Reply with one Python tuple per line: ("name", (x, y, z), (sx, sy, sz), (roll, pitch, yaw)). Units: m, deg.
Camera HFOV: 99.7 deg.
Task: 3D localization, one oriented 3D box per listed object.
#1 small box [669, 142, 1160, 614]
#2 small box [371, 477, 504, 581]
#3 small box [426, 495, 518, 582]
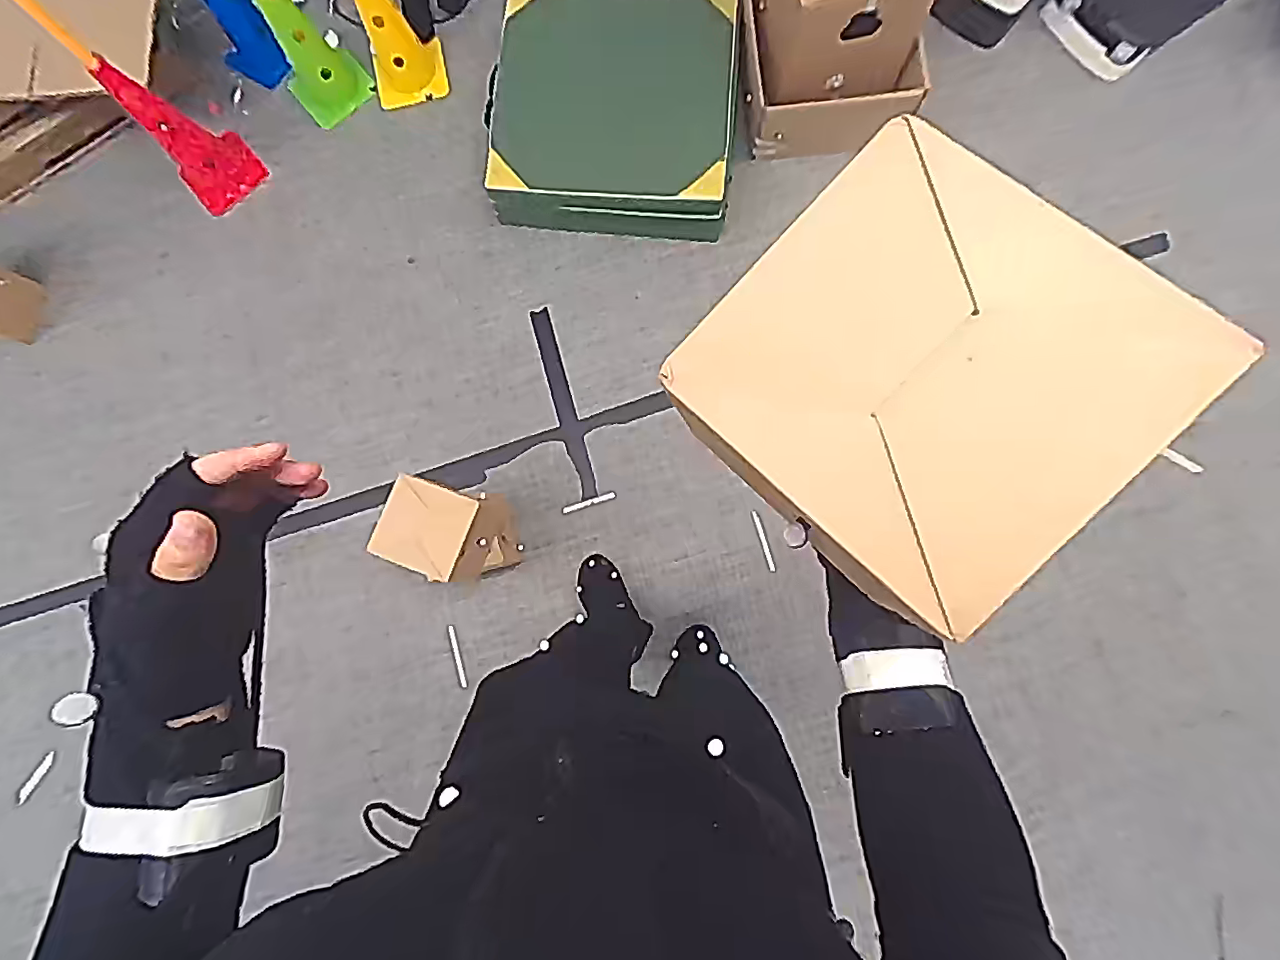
("small box", (0.137, -0.042, 0.319), (0.168, 0.176, 0.179), (-46, 77, 3))
("small box", (-0.413, 0.104, 1.123), (0.179, 0.176, 0.168), (20, 83, 6))
("small box", (-0.402, 0.139, 1.287), (0.179, 0.176, 0.168), (-15, 81, 1))
